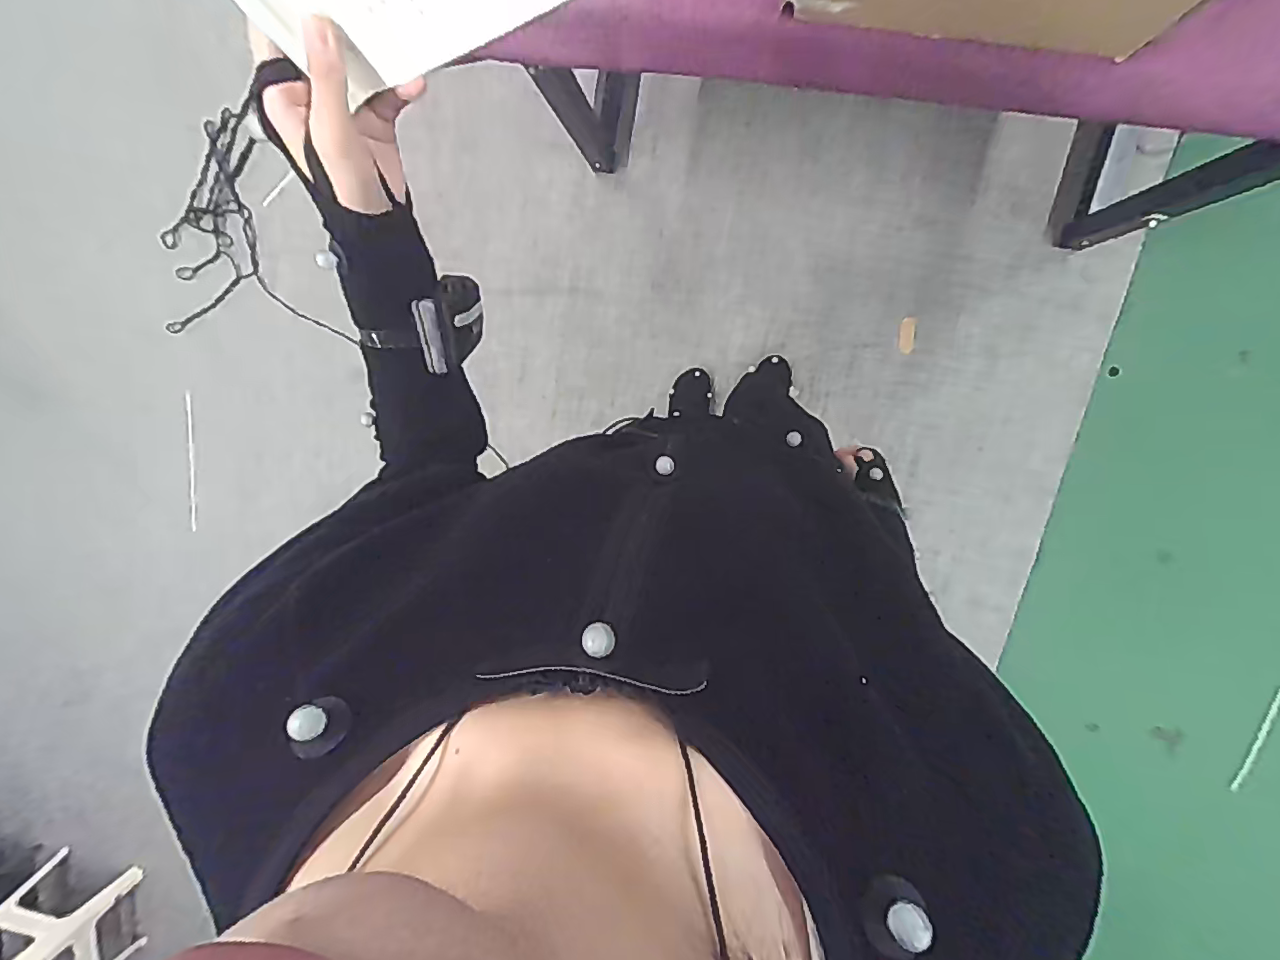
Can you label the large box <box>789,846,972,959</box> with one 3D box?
[{"bbox_3d":[0.653,1.297,1.529,0.408,0.320,0.320,-3,101,8],"label":"large box"}]
